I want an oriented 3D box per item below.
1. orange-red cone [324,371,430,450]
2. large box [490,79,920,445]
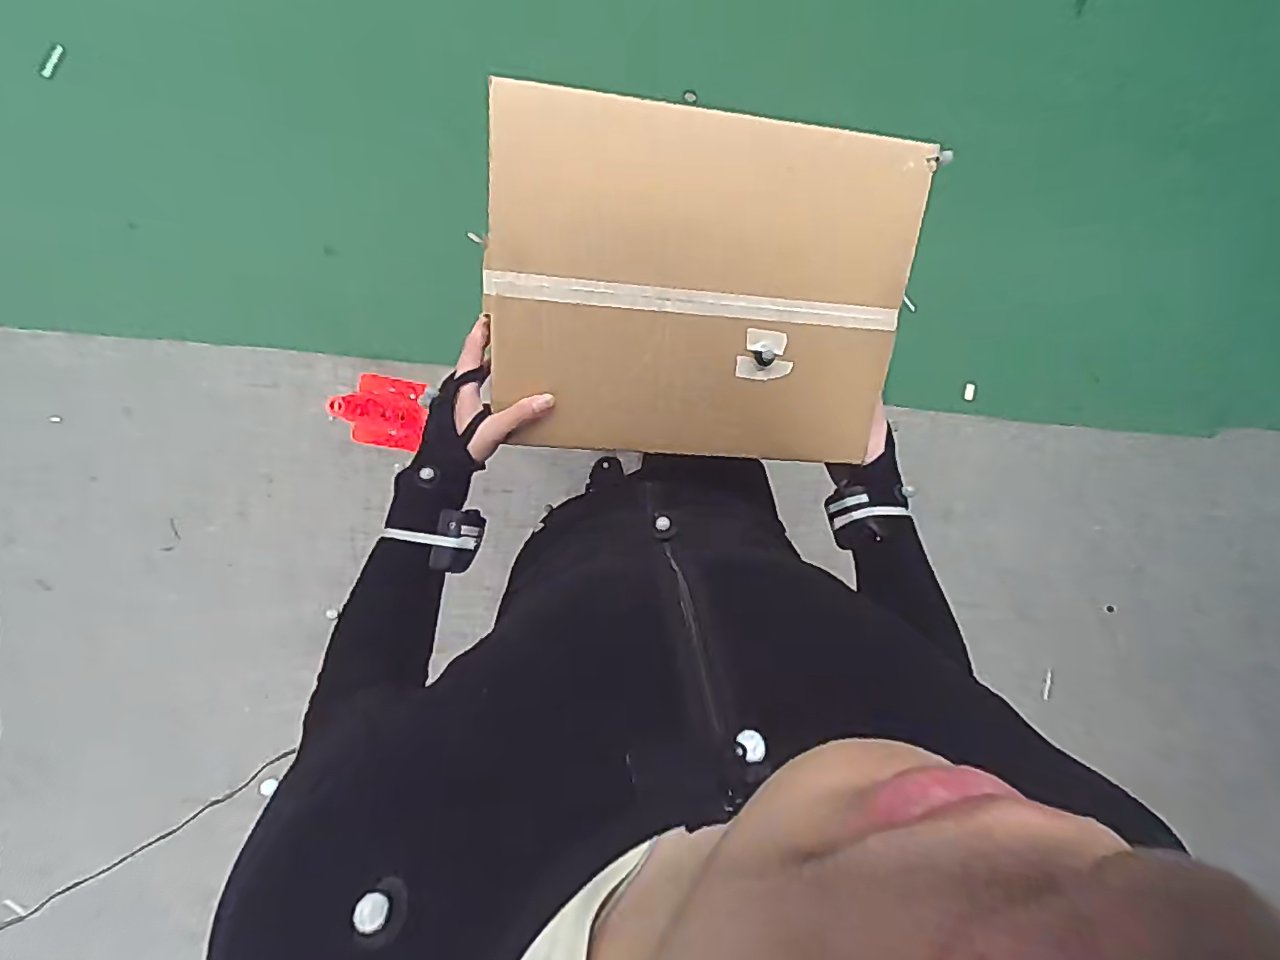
[{"bbox_3d":[-0.697,-0.185,1.365,0.199,0.360,0.198,12,93,-5],"label":"orange-red cone"},{"bbox_3d":[0.038,-0.238,0.668,0.408,0.320,0.320,2,111,-9],"label":"large box"}]
